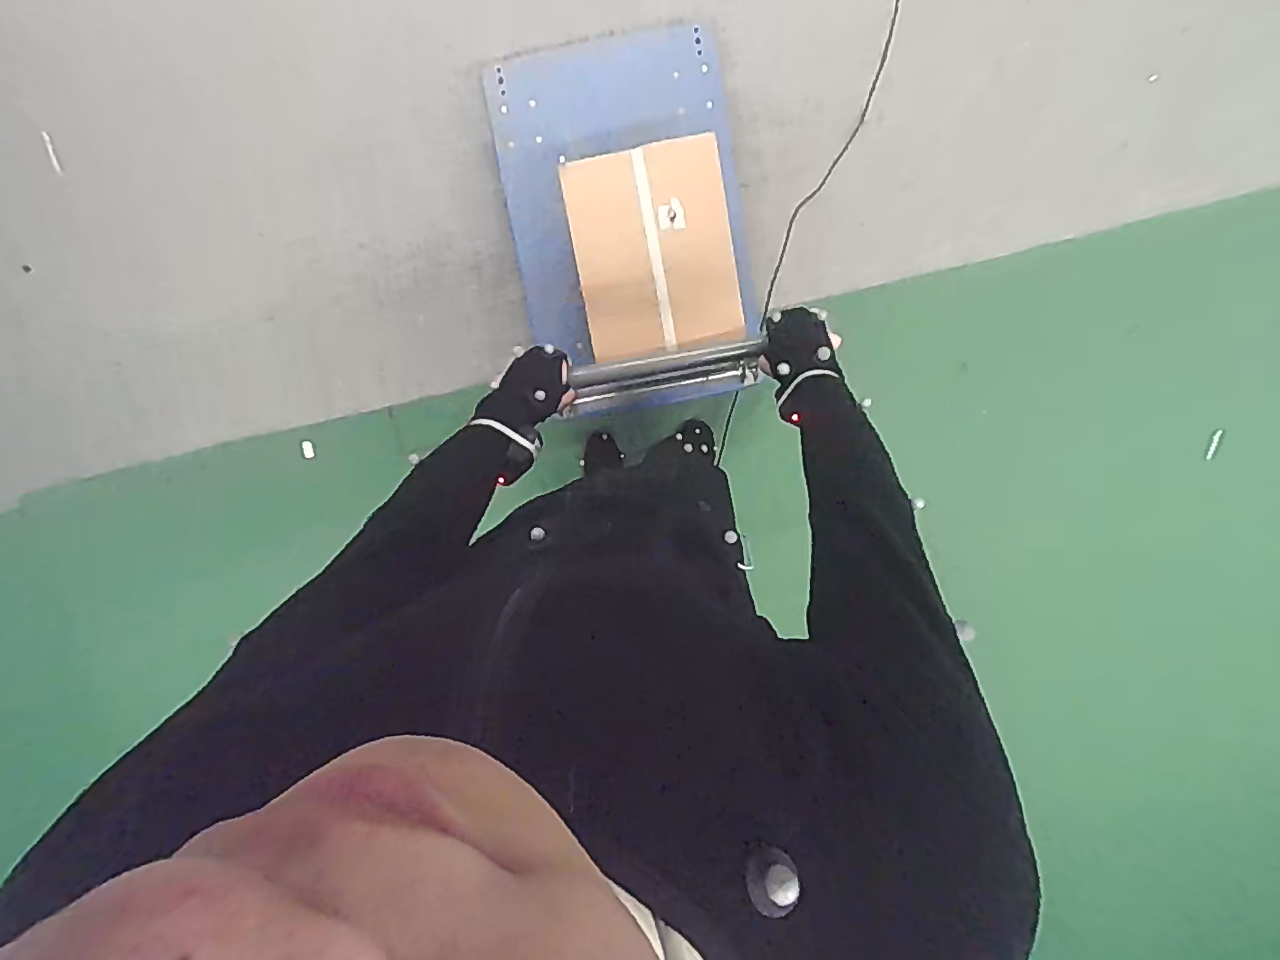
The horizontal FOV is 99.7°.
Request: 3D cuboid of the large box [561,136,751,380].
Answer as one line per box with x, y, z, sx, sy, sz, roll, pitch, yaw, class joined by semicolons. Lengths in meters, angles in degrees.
0.037;-0.458;1.211;0.320;0.320;0.408;-11;98;1;large box
